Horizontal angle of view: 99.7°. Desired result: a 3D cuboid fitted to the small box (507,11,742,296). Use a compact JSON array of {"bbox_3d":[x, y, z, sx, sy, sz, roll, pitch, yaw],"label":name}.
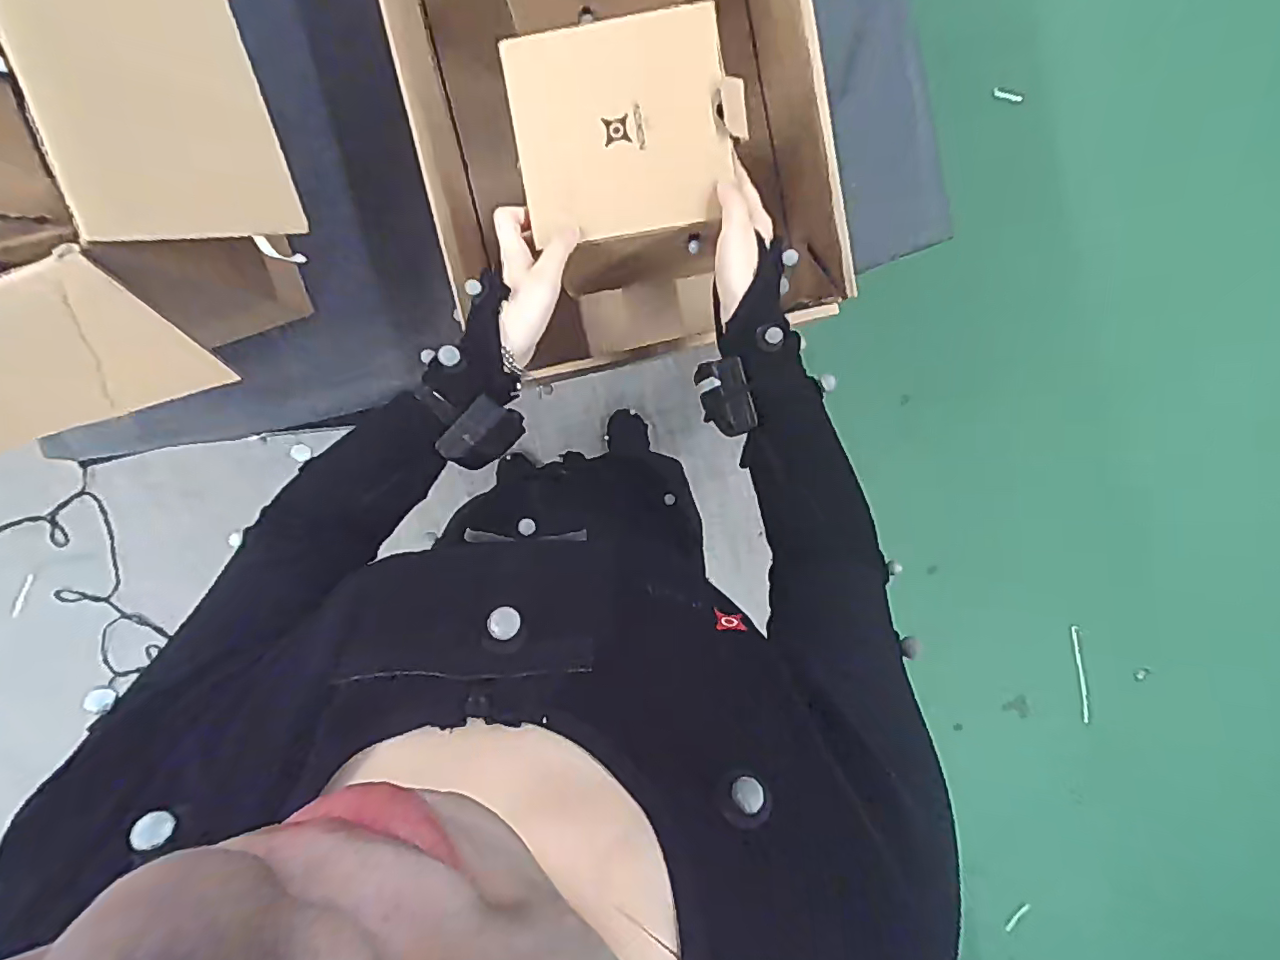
[{"bbox_3d":[-0.009,-0.289,0.522,0.179,0.176,0.168,-9,95,2],"label":"small box"}]
